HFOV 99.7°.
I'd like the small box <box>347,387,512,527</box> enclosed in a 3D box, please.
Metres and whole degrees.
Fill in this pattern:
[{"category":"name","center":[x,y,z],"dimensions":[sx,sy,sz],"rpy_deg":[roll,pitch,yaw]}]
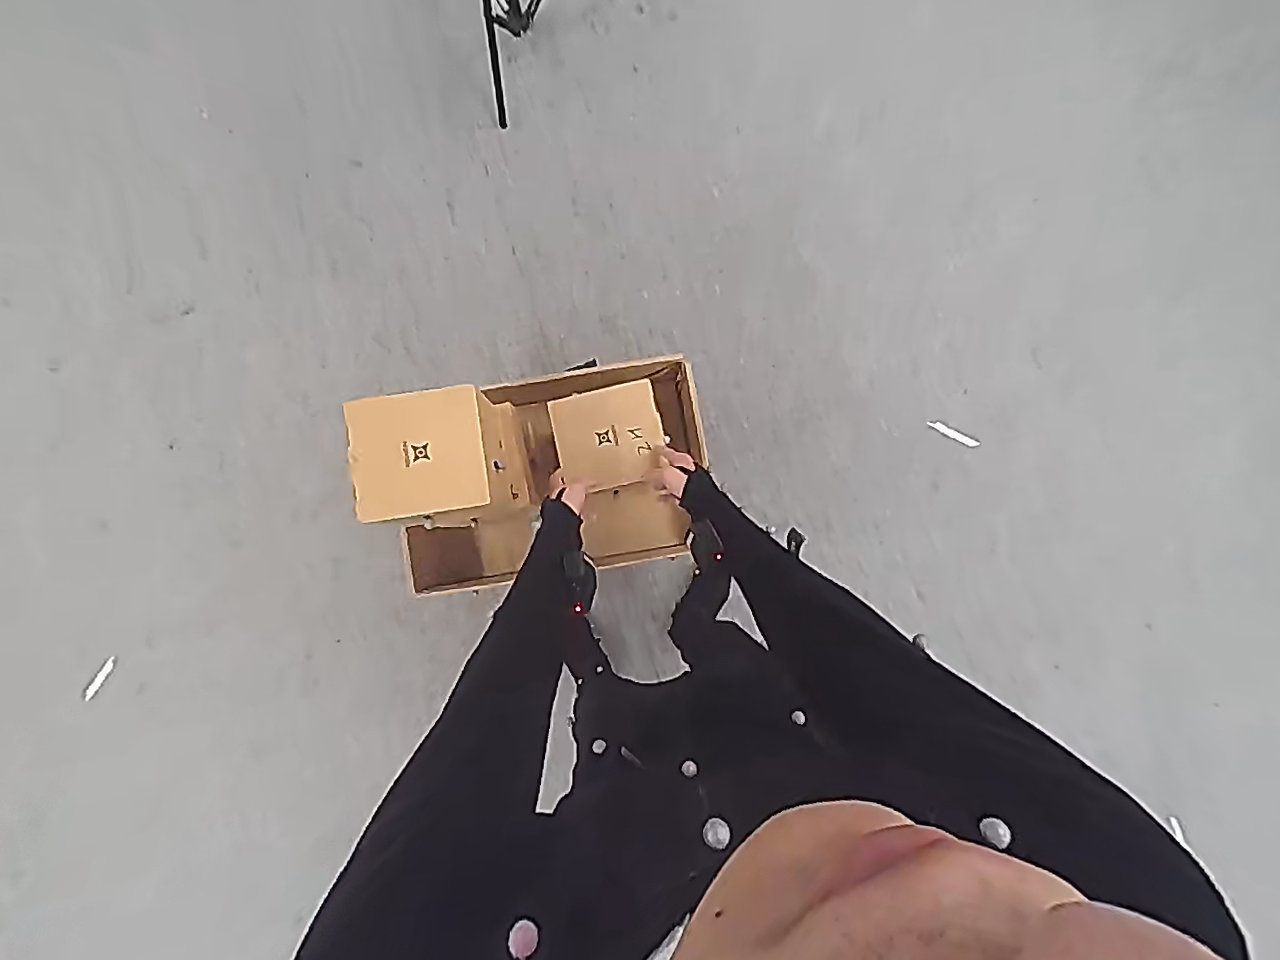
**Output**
[{"category":"small box","center":[-0.291,-0.027,0.787],"dimensions":[0.179,0.176,0.168],"rpy_deg":[-9,85,-3]}]

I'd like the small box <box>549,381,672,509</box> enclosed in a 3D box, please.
[{"category":"small box","center":[-0.045,-0.052,0.946],"dimensions":[0.179,0.176,0.168],"rpy_deg":[-13,80,0]}]
